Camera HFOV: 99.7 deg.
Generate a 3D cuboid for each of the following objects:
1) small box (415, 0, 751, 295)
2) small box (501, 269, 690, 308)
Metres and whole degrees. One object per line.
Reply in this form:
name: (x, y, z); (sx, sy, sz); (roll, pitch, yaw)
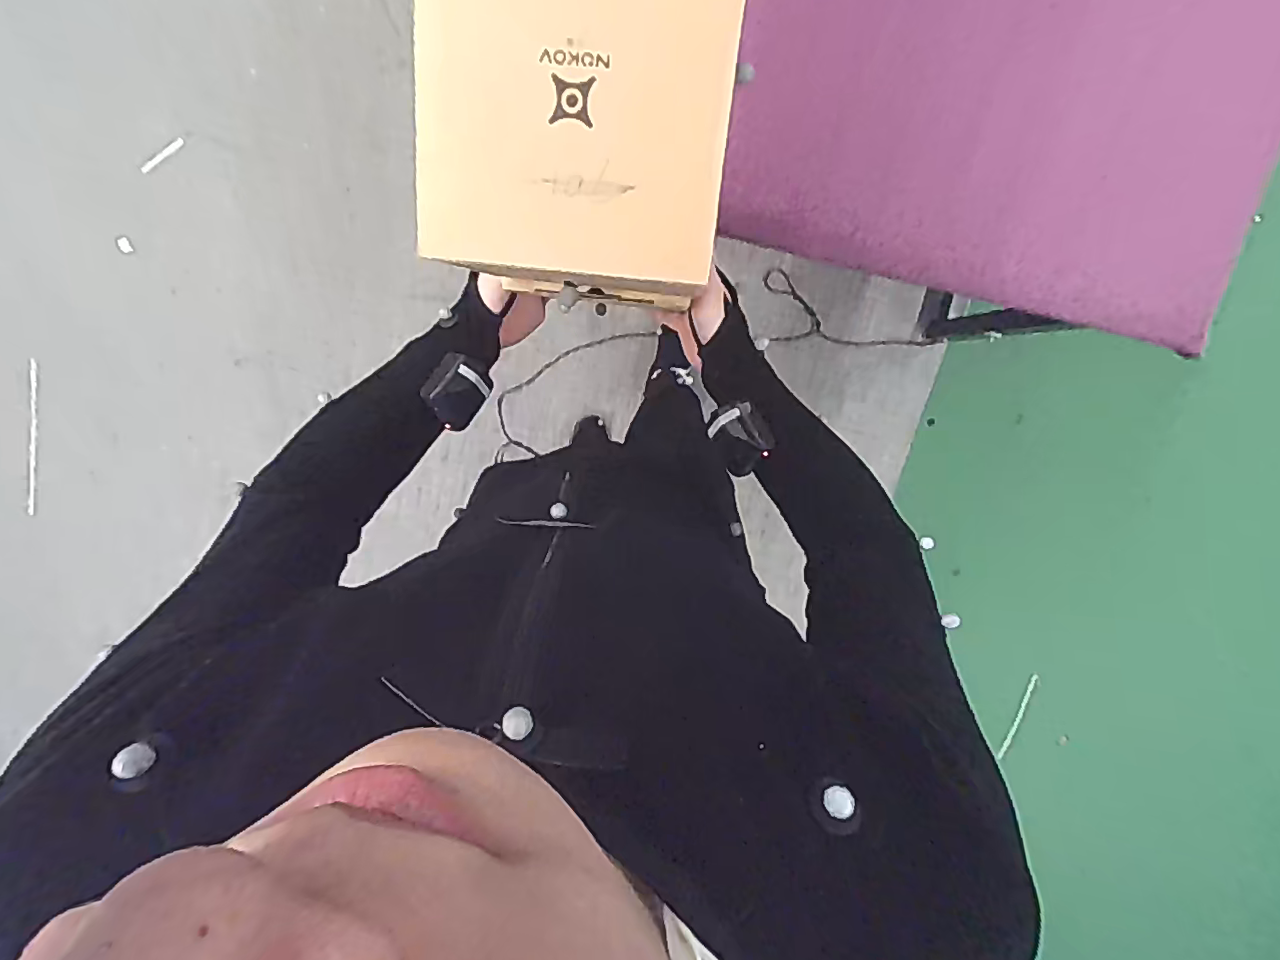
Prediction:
small box: (-0.029, -0.223, 0.350); (0.168, 0.176, 0.179); (7, 107, 2)
small box: (-0.024, -0.261, 0.509); (0.168, 0.176, 0.179); (6, 105, 1)
